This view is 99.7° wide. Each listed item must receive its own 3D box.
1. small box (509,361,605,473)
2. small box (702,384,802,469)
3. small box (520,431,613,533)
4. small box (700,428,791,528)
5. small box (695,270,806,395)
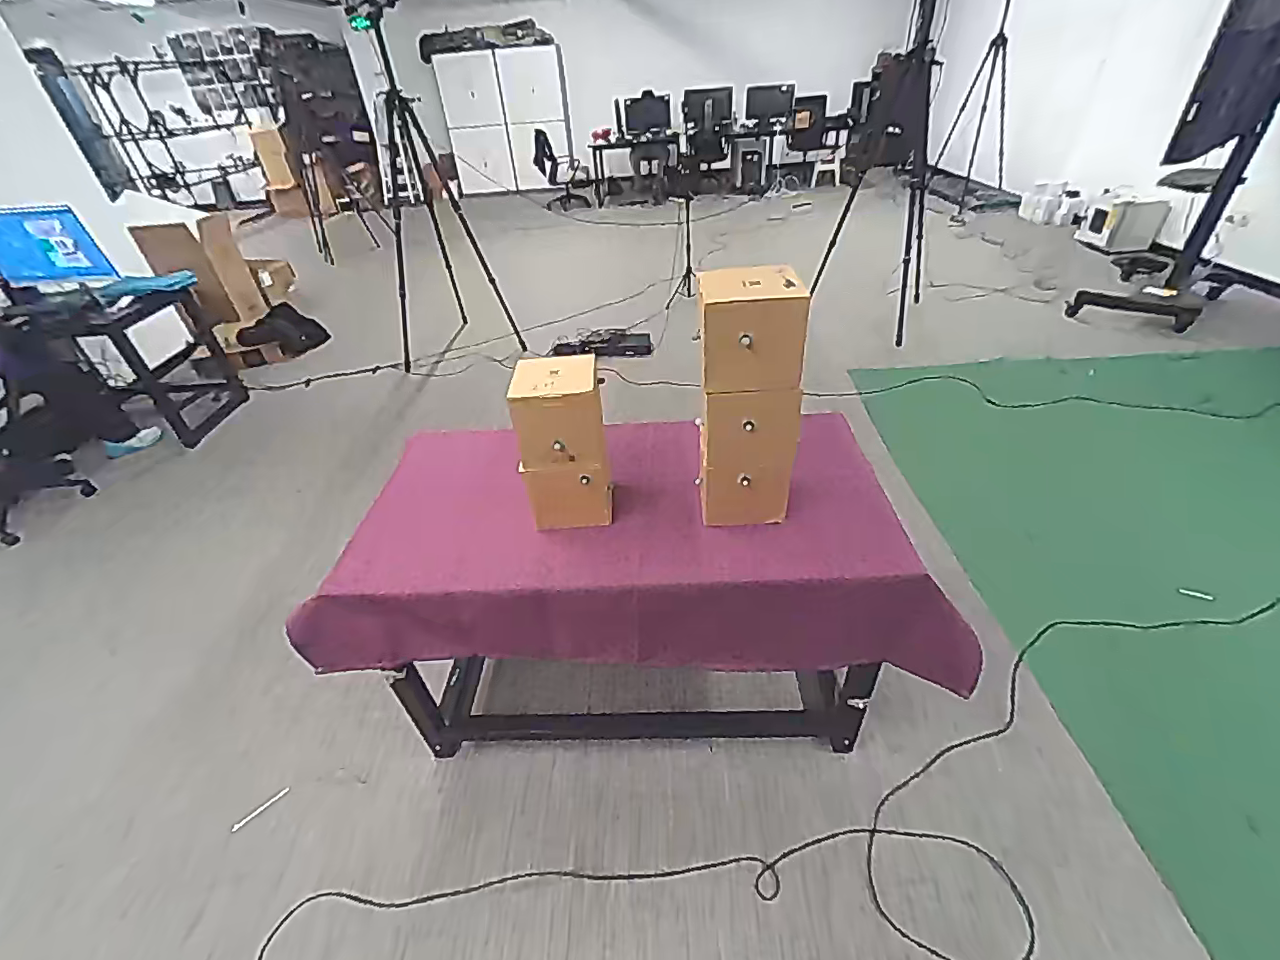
[{"bbox_3d":[-0.166,-0.133,1.132,0.168,0.176,0.179,-5,36,0],"label":"small box"},{"bbox_3d":[0.215,-0.137,1.087,0.179,0.176,0.168,-3,38,5],"label":"small box"},{"bbox_3d":[-0.158,0.006,1.223,0.179,0.176,0.168,-5,37,0],"label":"small box"},{"bbox_3d":[0.224,-0.007,1.187,0.179,0.176,0.168,-2,38,4],"label":"small box"},{"bbox_3d":[0.195,-0.267,0.988,0.179,0.176,0.168,-4,38,5],"label":"small box"}]
